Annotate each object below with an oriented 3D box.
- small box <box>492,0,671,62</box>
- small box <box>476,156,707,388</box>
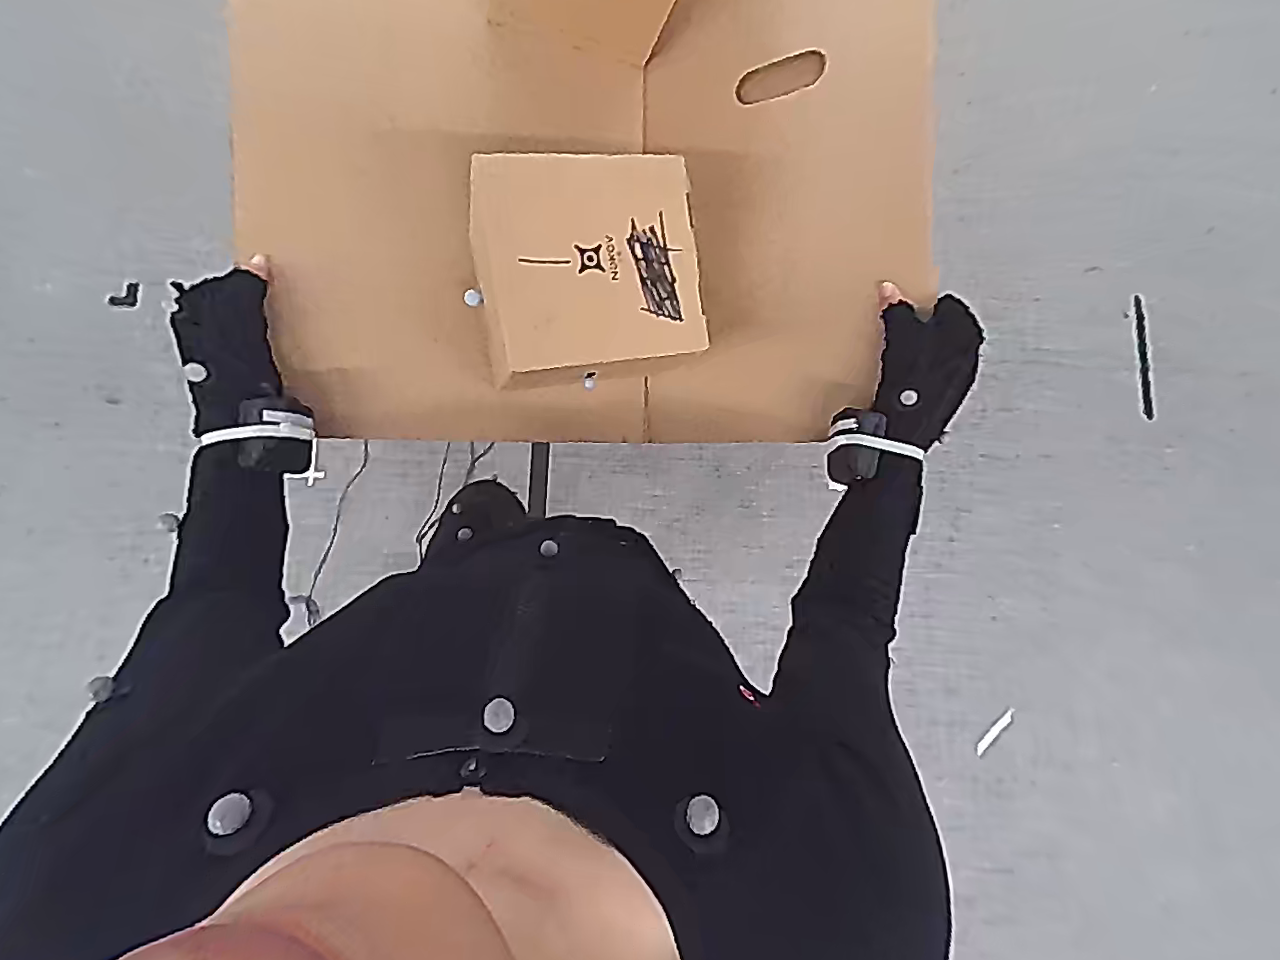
[{"bbox_3d":[-0.045,-0.549,0.512,0.179,0.176,0.168,4,92,-19],"label":"small box"},{"bbox_3d":[-0.056,-0.187,0.526,0.179,0.176,0.168,-10,96,-17],"label":"small box"}]
